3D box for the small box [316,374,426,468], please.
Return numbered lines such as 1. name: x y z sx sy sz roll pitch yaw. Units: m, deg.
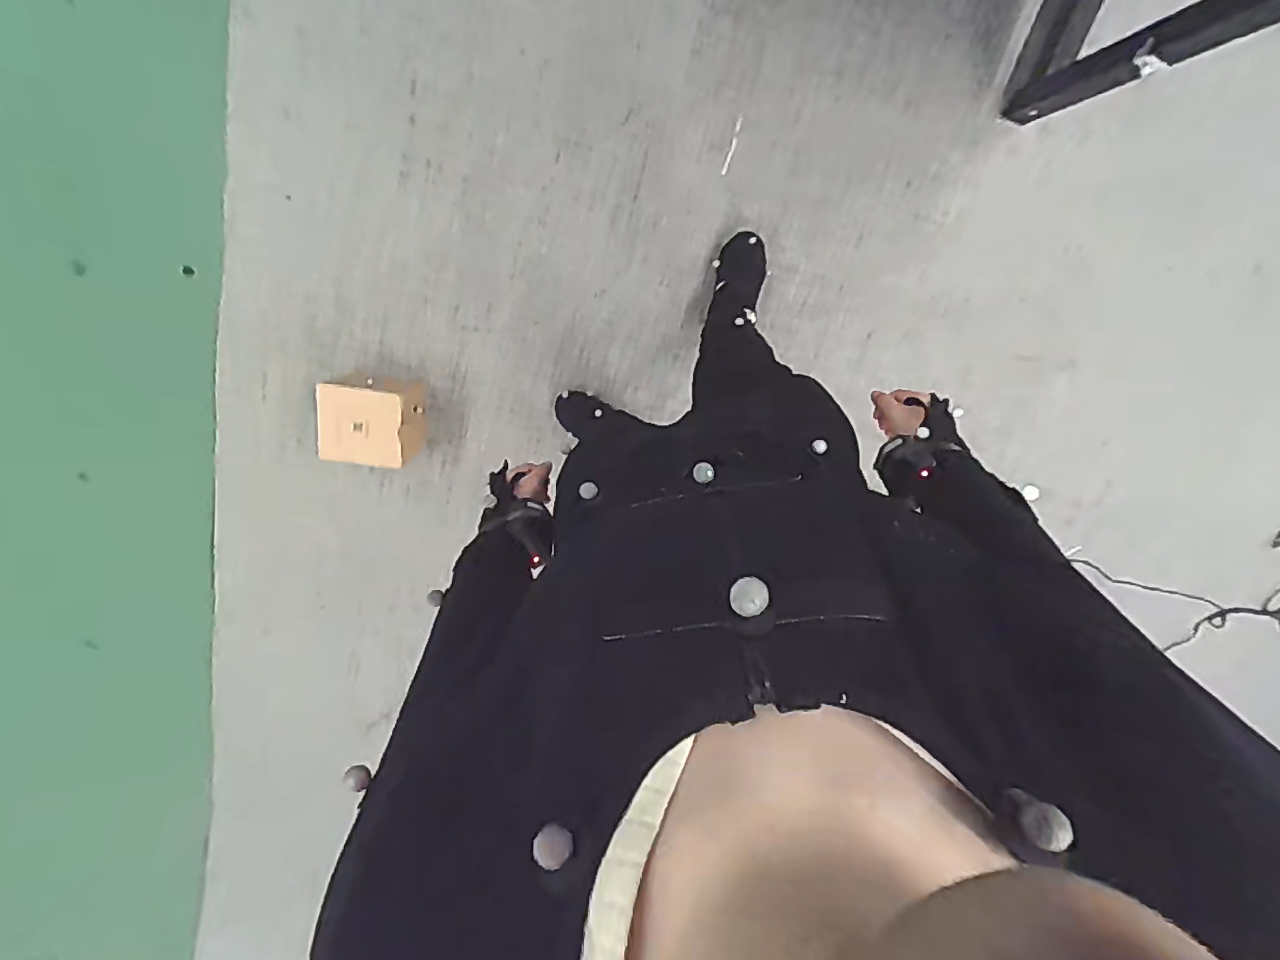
1. small box: -0.593 -0.138 1.211 0.179 0.176 0.168 7 108 -5
